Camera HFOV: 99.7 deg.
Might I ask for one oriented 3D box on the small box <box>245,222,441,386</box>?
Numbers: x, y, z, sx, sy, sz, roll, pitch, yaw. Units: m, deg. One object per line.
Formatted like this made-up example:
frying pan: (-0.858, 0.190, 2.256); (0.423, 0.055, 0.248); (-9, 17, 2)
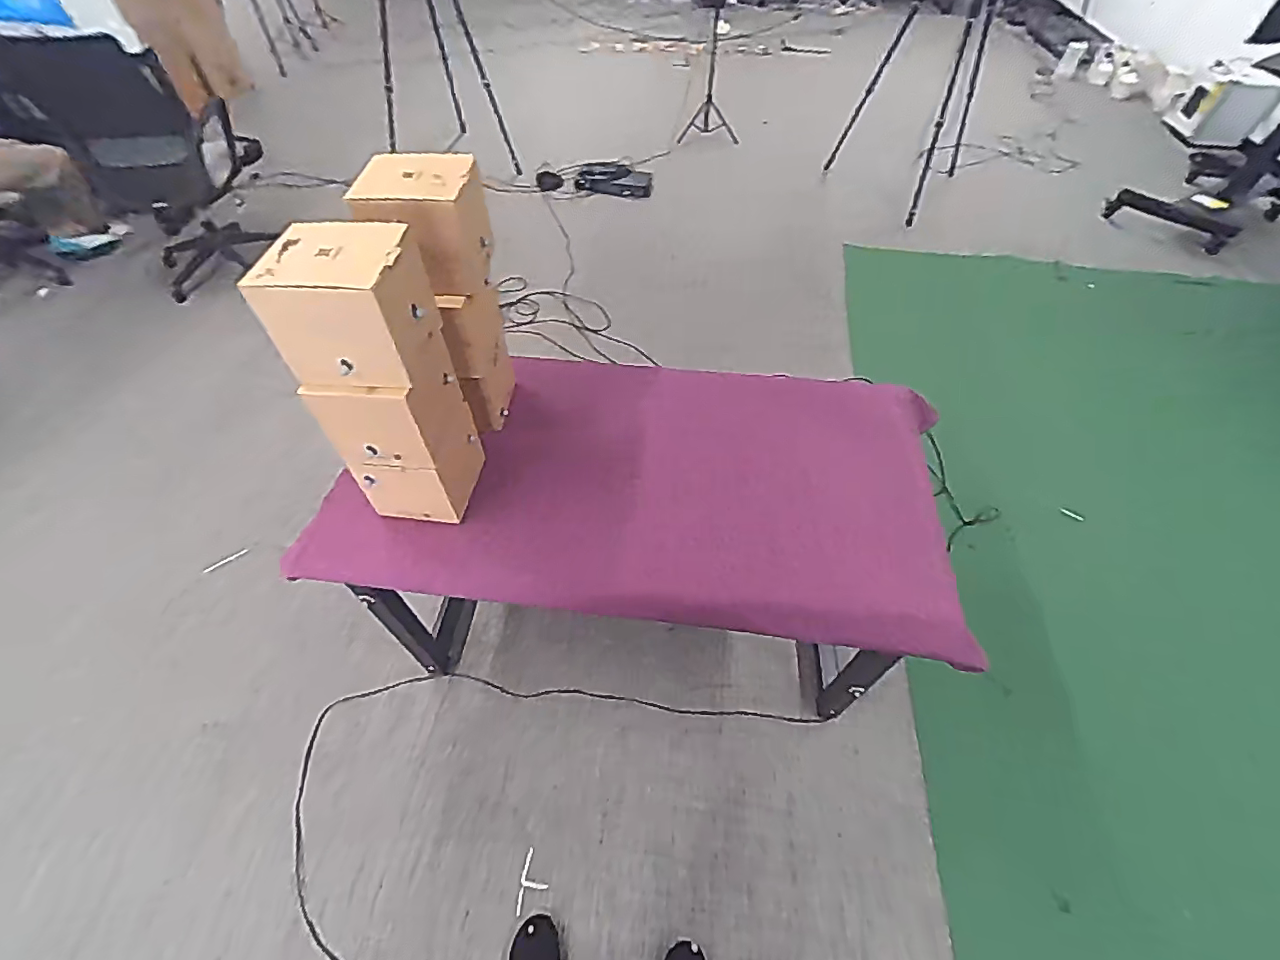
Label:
small box: (-0.414, -0.254, 0.797); (0.179, 0.176, 0.168); (3, 51, 1)

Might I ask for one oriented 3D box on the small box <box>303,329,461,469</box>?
small box: (-0.418, -0.143, 0.918); (0.168, 0.176, 0.179); (4, 52, 2)

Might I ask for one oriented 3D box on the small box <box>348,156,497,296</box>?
small box: (-0.363, -0.439, 0.942); (0.179, 0.176, 0.168); (1, 53, 0)
